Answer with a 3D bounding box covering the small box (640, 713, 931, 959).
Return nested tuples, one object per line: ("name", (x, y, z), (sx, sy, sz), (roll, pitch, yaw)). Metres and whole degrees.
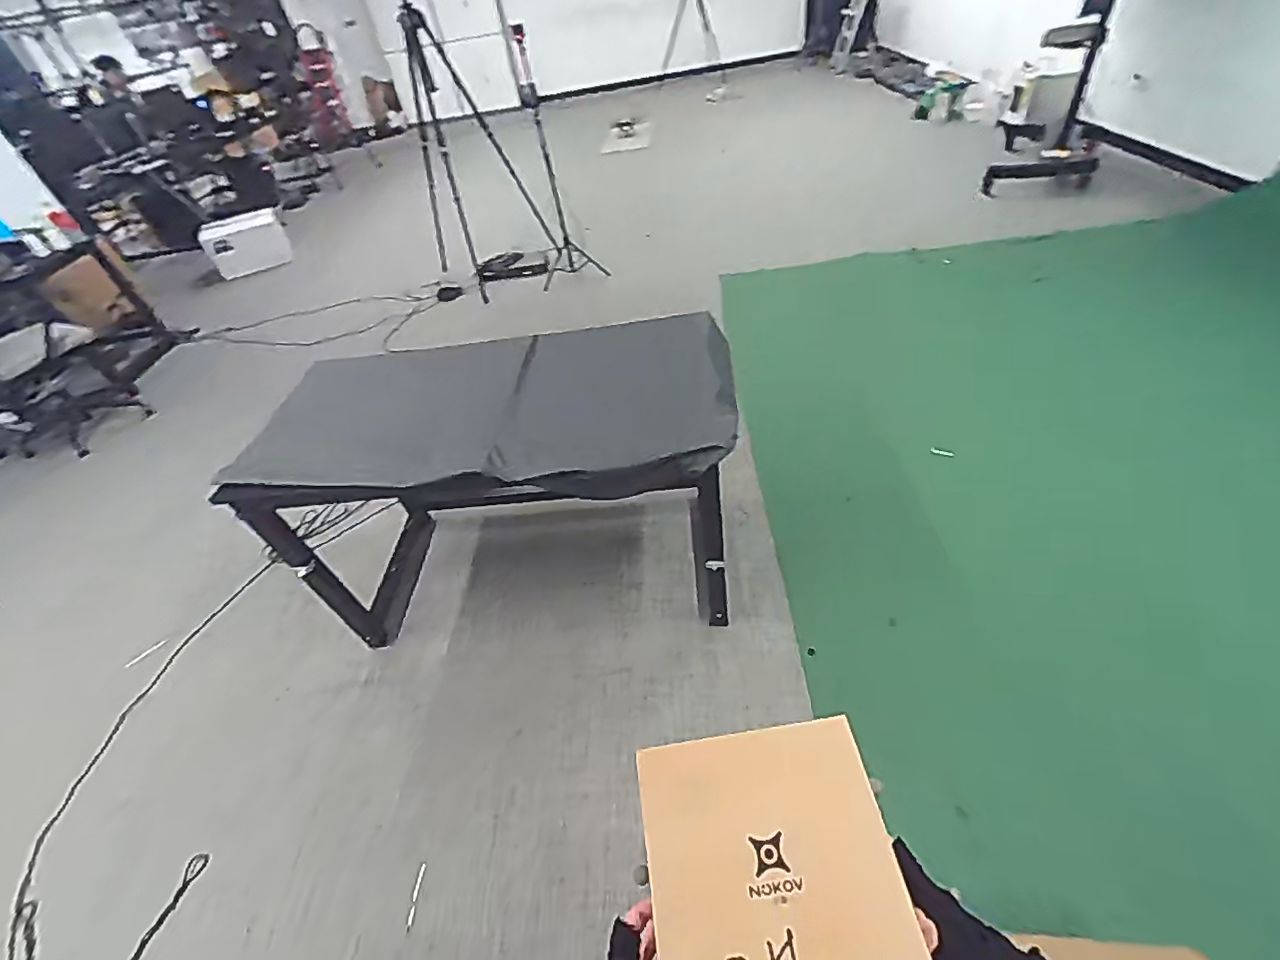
("small box", (0.097, 0.308, 0.424), (0.168, 0.176, 0.179), (-10, 51, 1))
